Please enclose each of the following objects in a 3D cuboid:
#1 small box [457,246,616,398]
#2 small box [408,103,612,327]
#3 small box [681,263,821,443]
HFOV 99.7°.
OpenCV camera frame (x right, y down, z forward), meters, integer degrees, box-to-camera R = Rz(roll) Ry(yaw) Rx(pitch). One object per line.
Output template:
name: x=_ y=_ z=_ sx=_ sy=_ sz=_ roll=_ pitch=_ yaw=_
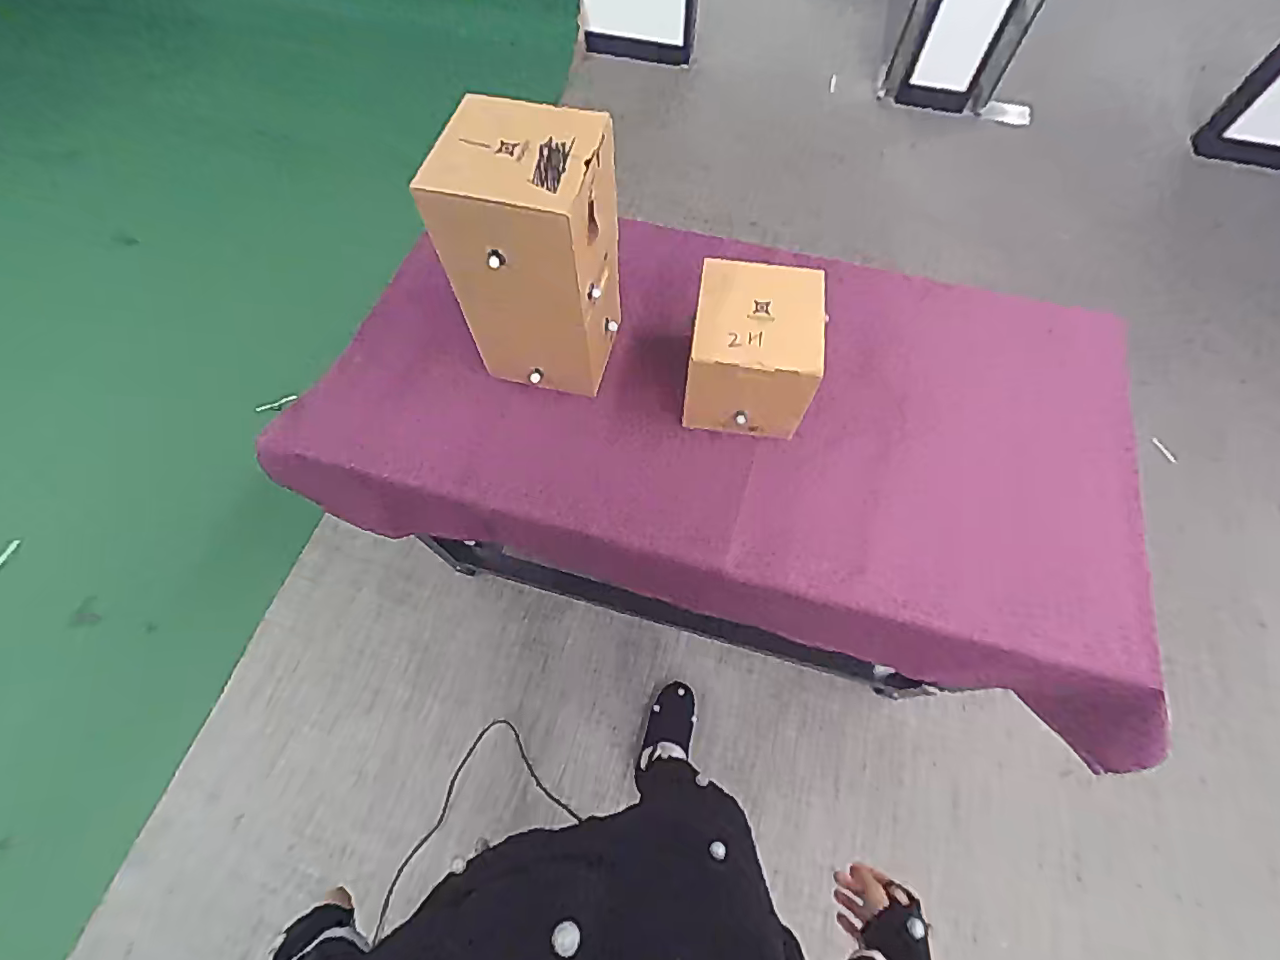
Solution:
small box: x=-0.138 y=-0.243 z=0.806 sx=0.179 sy=0.176 sz=0.168 roll=13 pitch=66 yaw=6
small box: x=-0.138 y=-0.311 z=0.656 sx=0.179 sy=0.176 sz=0.168 roll=13 pitch=66 yaw=7
small box: x=0.152 y=-0.176 z=0.775 sx=0.168 sy=0.176 sz=0.179 roll=8 pitch=66 yaw=4
